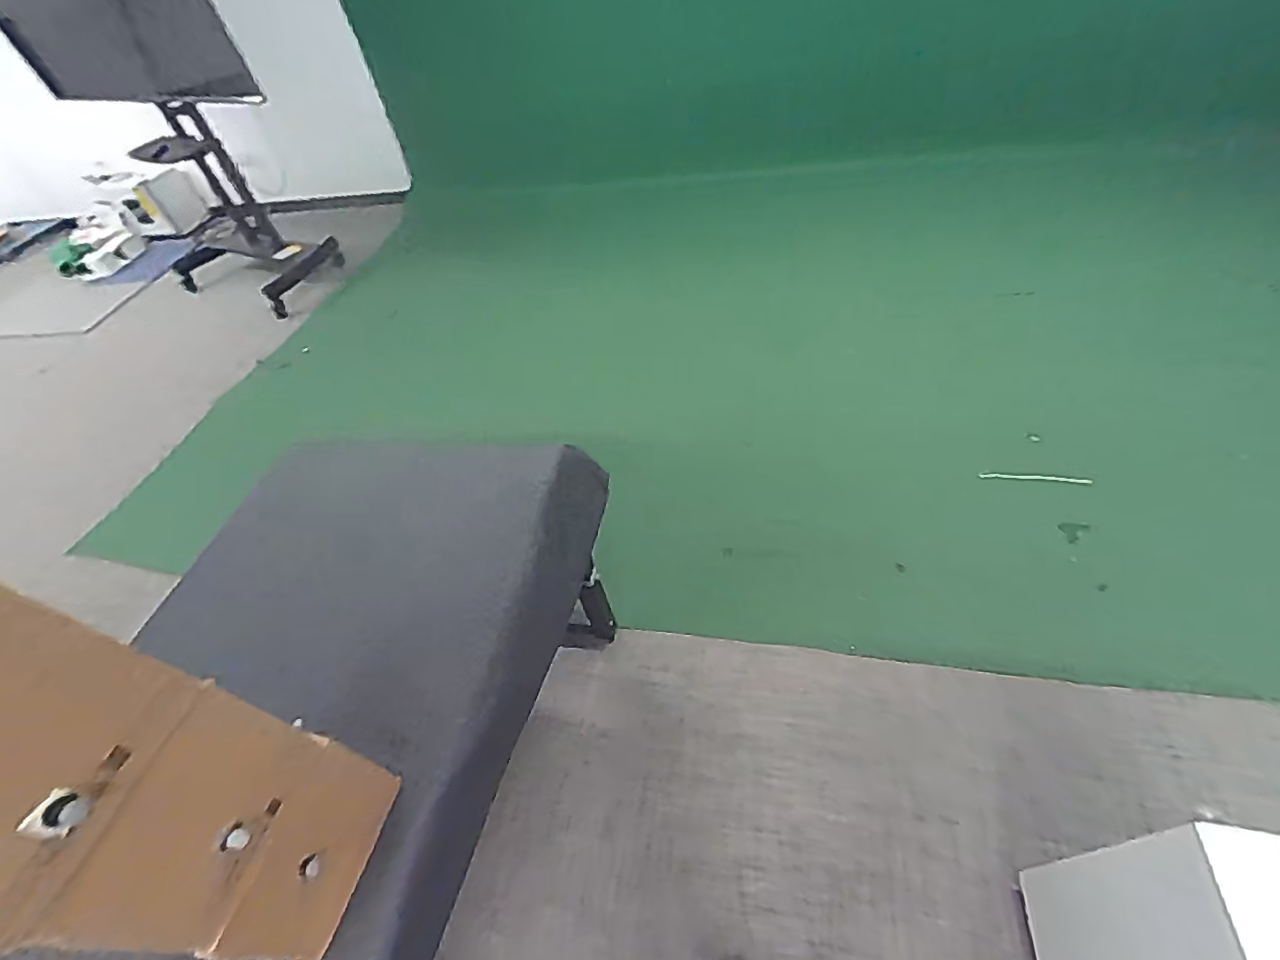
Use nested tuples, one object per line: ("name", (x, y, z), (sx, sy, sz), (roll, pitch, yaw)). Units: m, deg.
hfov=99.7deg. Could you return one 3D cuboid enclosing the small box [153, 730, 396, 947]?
("small box", (-0.403, 0.372, 0.587), (0.168, 0.176, 0.179), (5, 51, 15))
